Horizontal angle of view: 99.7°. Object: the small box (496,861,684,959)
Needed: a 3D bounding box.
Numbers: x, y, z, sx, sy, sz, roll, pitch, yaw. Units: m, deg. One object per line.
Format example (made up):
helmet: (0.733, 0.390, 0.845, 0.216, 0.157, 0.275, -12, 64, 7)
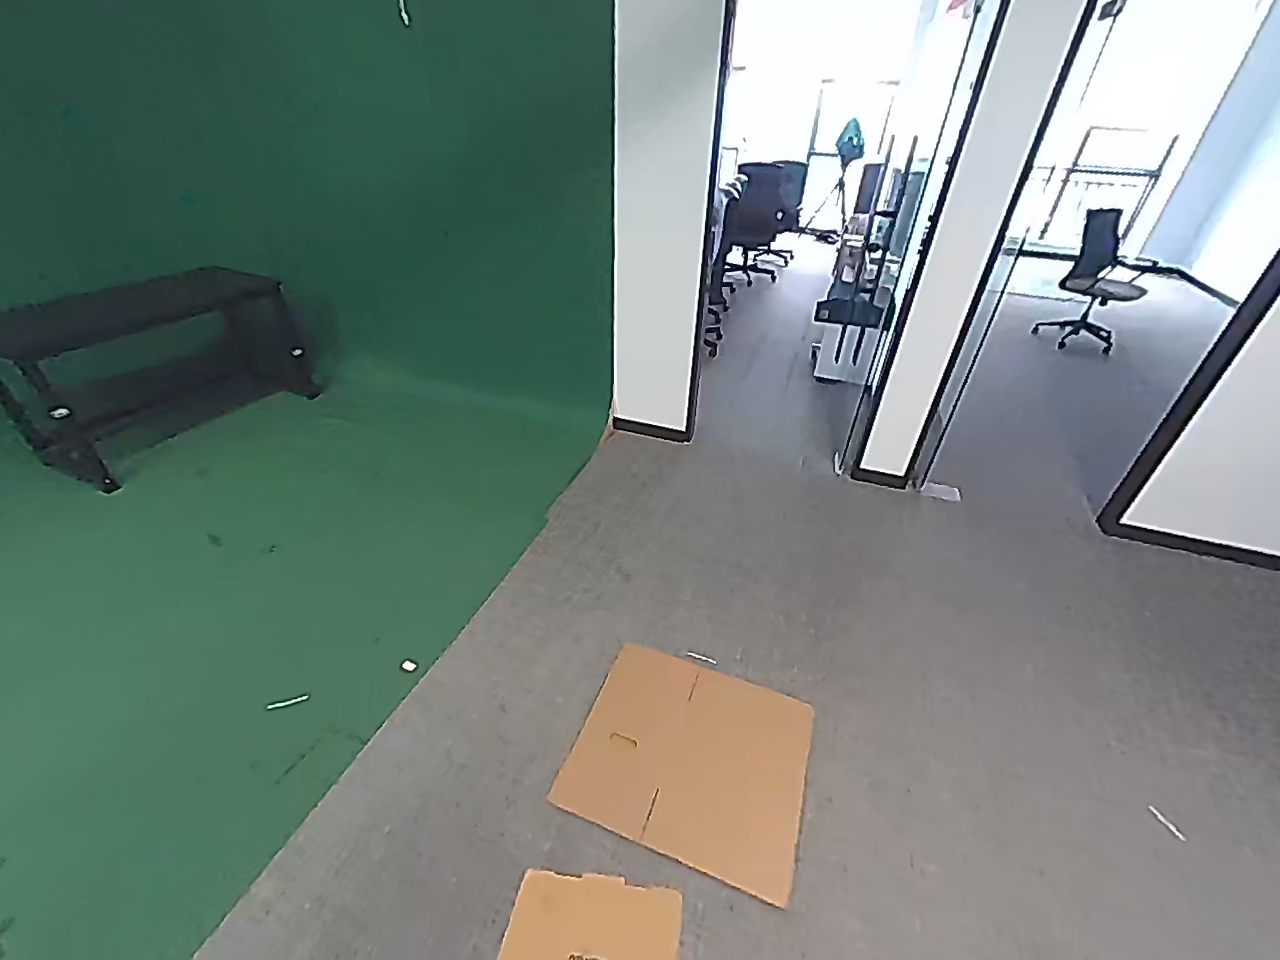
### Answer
small box: (-0.051, 0.512, 0.509, 0.168, 0.176, 0.179, 4, 23, 8)
